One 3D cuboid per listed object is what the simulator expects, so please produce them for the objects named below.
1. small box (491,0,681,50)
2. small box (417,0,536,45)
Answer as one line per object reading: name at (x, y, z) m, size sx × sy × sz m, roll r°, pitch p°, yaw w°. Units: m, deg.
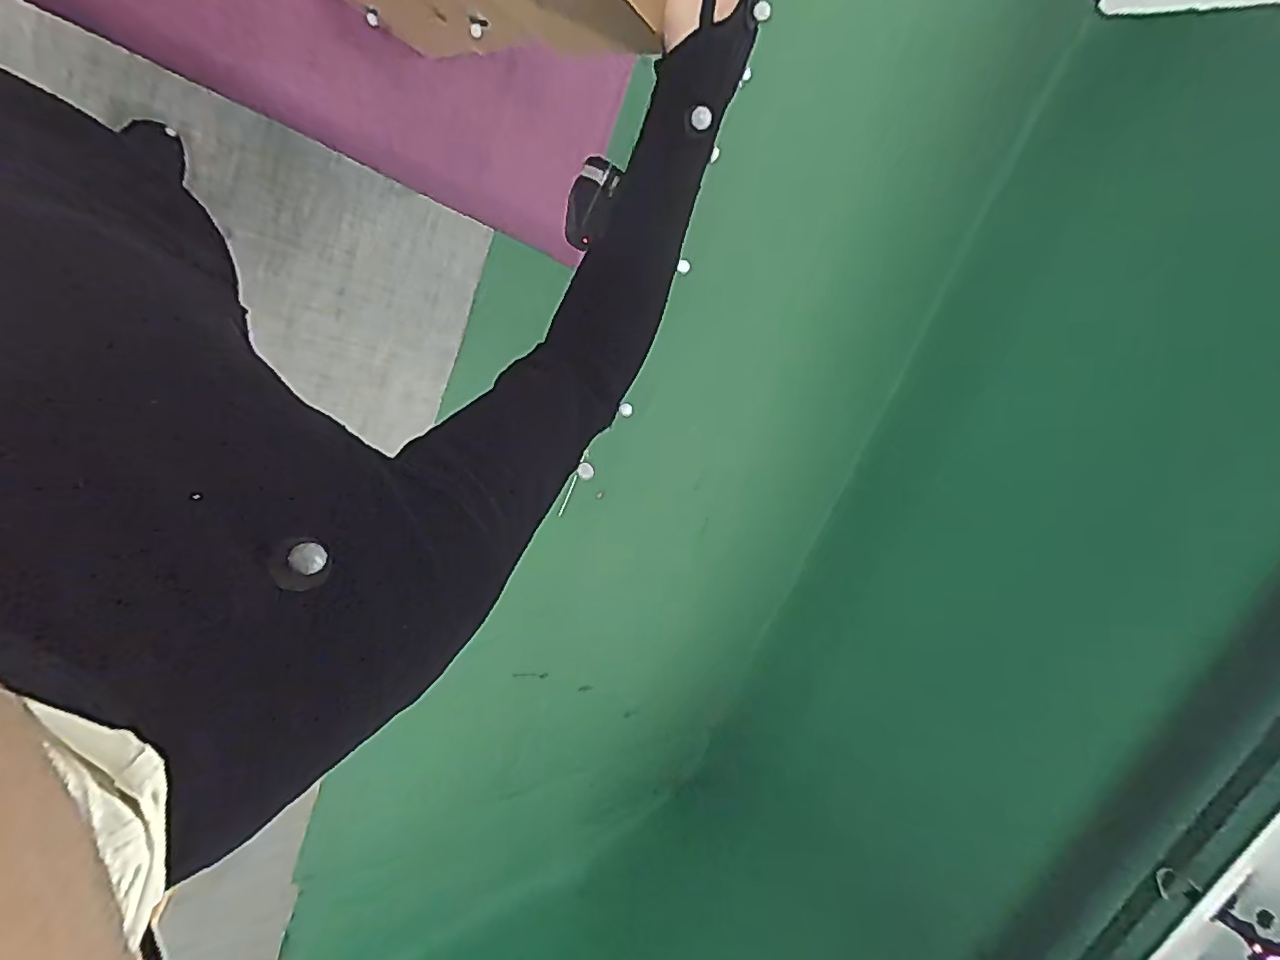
small box at (-0.056, -0.460, 0.396) m, size 0.179 × 0.176 × 0.168 m, roll 11°, pitch 108°, yaw -47°
small box at (-0.161, -0.541, 0.492) m, size 0.168 × 0.176 × 0.179 m, roll 7°, pitch 111°, yaw -47°
